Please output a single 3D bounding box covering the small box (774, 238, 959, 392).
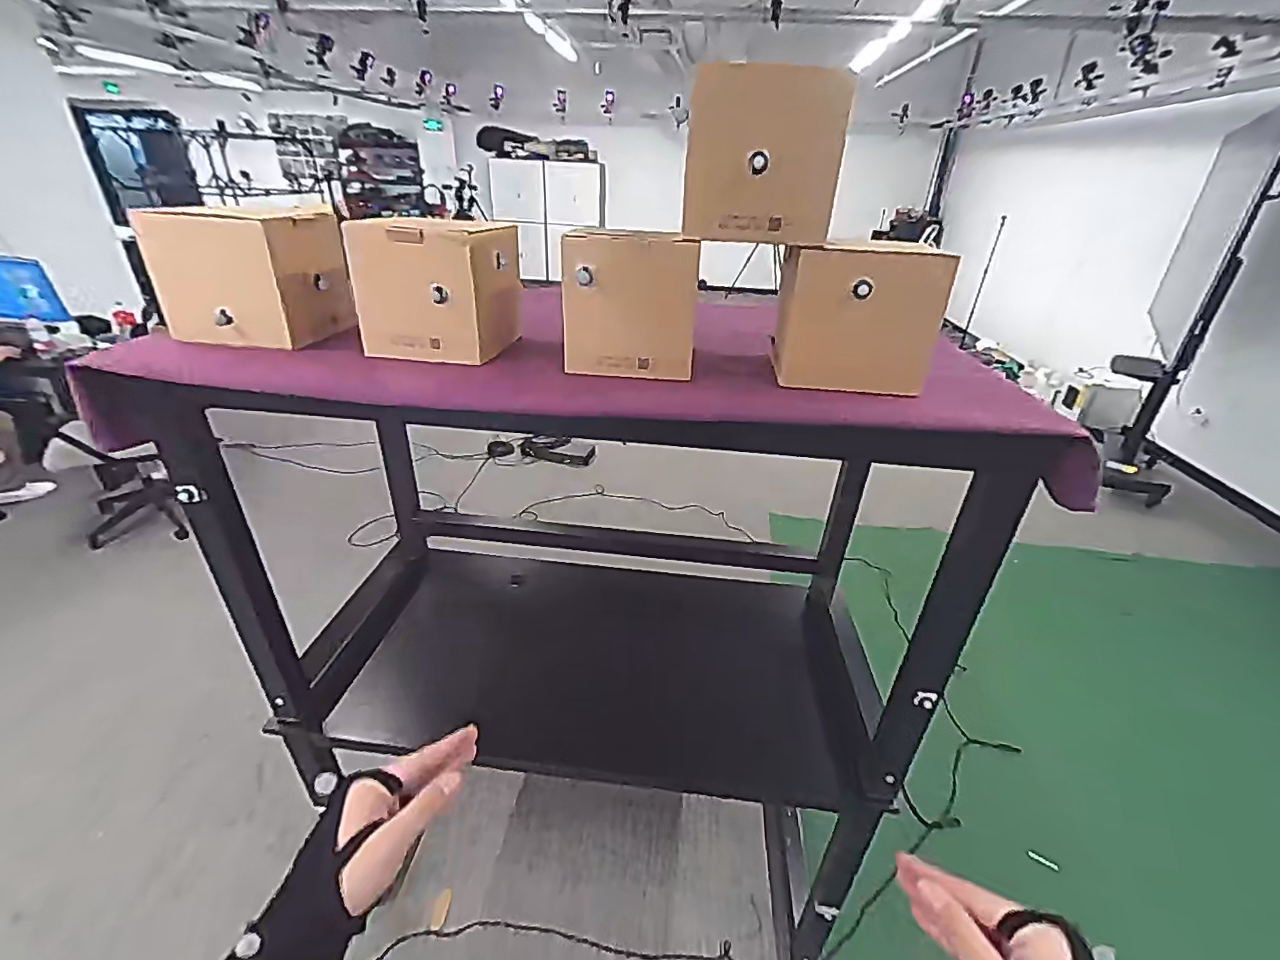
[{"bbox_3d":[0.277,-0.221,0.712,0.179,0.176,0.168,6,28,5],"label":"small box"}]

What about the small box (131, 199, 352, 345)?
[{"bbox_3d":[-0.544,-0.297,0.771,0.179,0.176,0.168,5,28,2],"label":"small box"}]

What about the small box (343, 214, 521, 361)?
[{"bbox_3d":[-0.271,-0.272,0.756,0.168,0.176,0.179,7,28,6],"label":"small box"}]

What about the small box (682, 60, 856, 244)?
[{"bbox_3d":[0.141,-0.382,0.651,0.168,0.176,0.179,5,27,3],"label":"small box"}]
